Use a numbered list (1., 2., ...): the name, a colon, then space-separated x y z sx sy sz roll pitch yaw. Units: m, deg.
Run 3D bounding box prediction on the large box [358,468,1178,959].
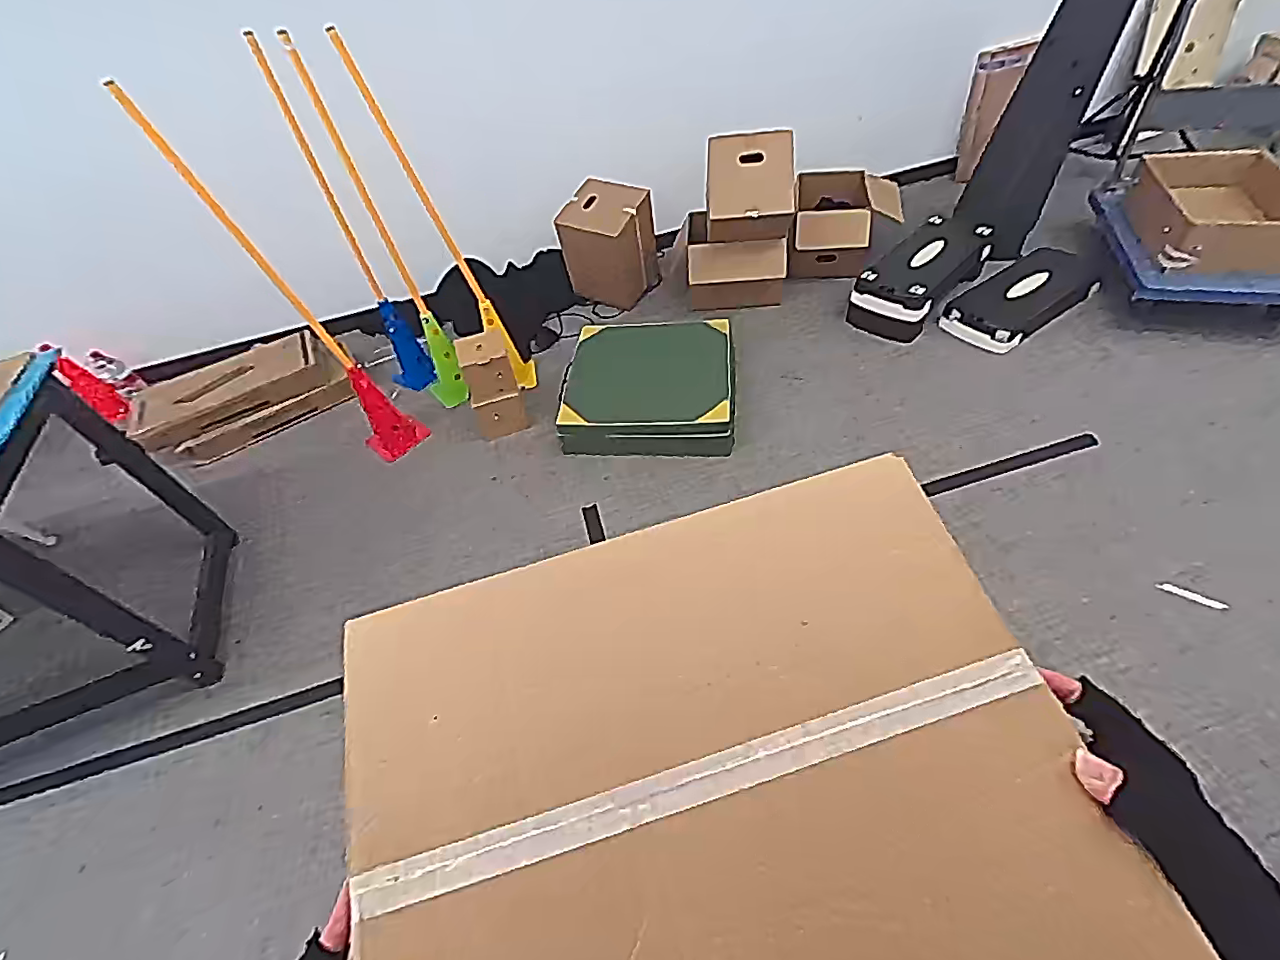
1. large box: 0.050 0.243 0.450 0.408 0.320 0.320 -17 61 -3
